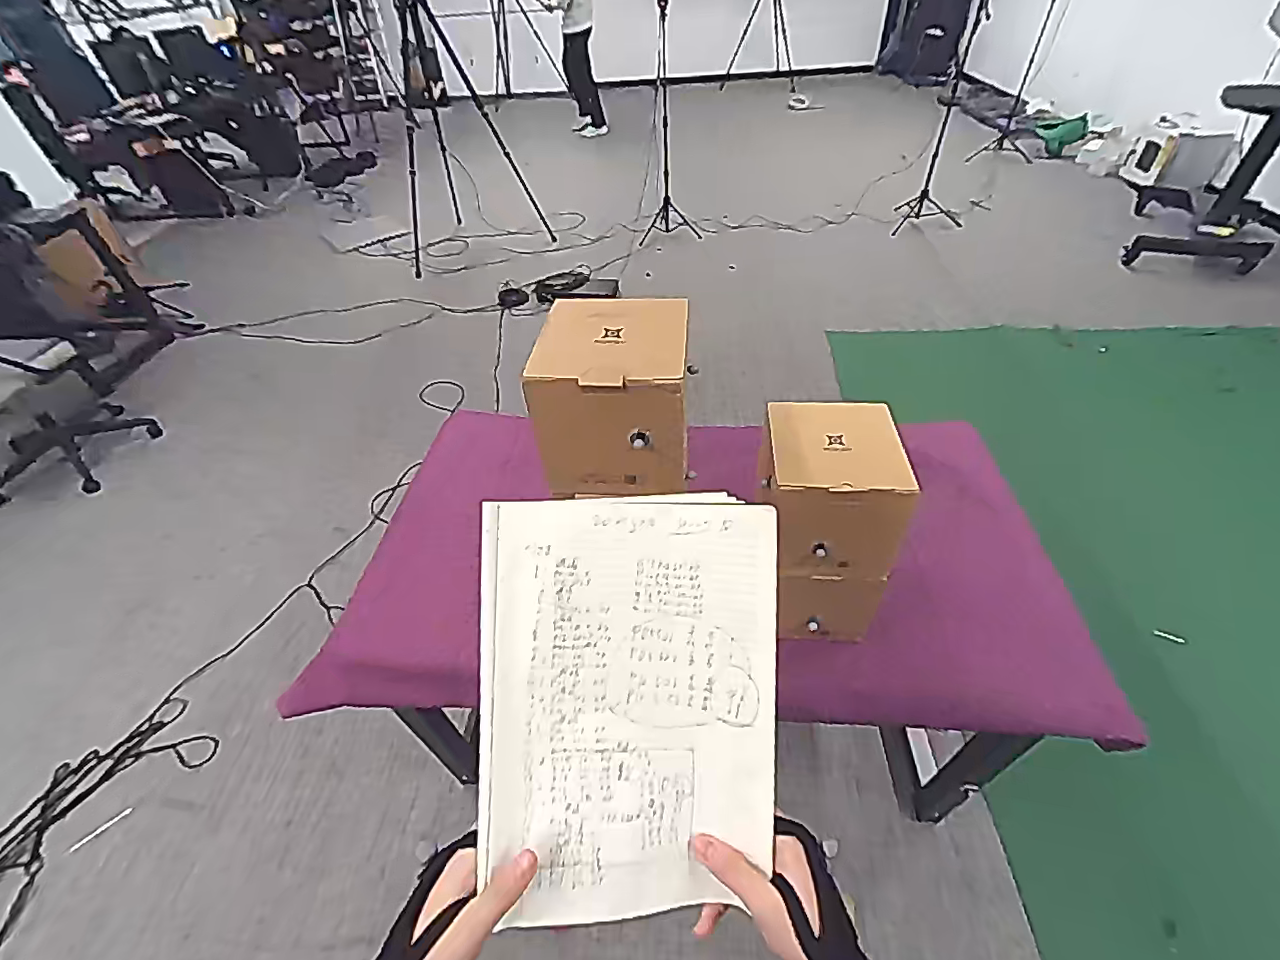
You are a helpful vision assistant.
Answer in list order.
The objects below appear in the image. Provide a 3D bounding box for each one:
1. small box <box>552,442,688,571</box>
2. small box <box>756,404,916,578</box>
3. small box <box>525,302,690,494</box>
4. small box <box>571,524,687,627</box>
[{"bbox_3d":[-0.016,0.013,0.777,0.168,0.176,0.179,2,44,6],"label":"small box"},{"bbox_3d":[0.256,0.013,0.756,0.168,0.176,0.179,2,44,6],"label":"small box"},{"bbox_3d":[-0.025,-0.099,0.659,0.168,0.176,0.179,3,44,6],"label":"small box"},{"bbox_3d":[-0.007,0.126,0.896,0.168,0.176,0.179,2,45,6],"label":"small box"}]
